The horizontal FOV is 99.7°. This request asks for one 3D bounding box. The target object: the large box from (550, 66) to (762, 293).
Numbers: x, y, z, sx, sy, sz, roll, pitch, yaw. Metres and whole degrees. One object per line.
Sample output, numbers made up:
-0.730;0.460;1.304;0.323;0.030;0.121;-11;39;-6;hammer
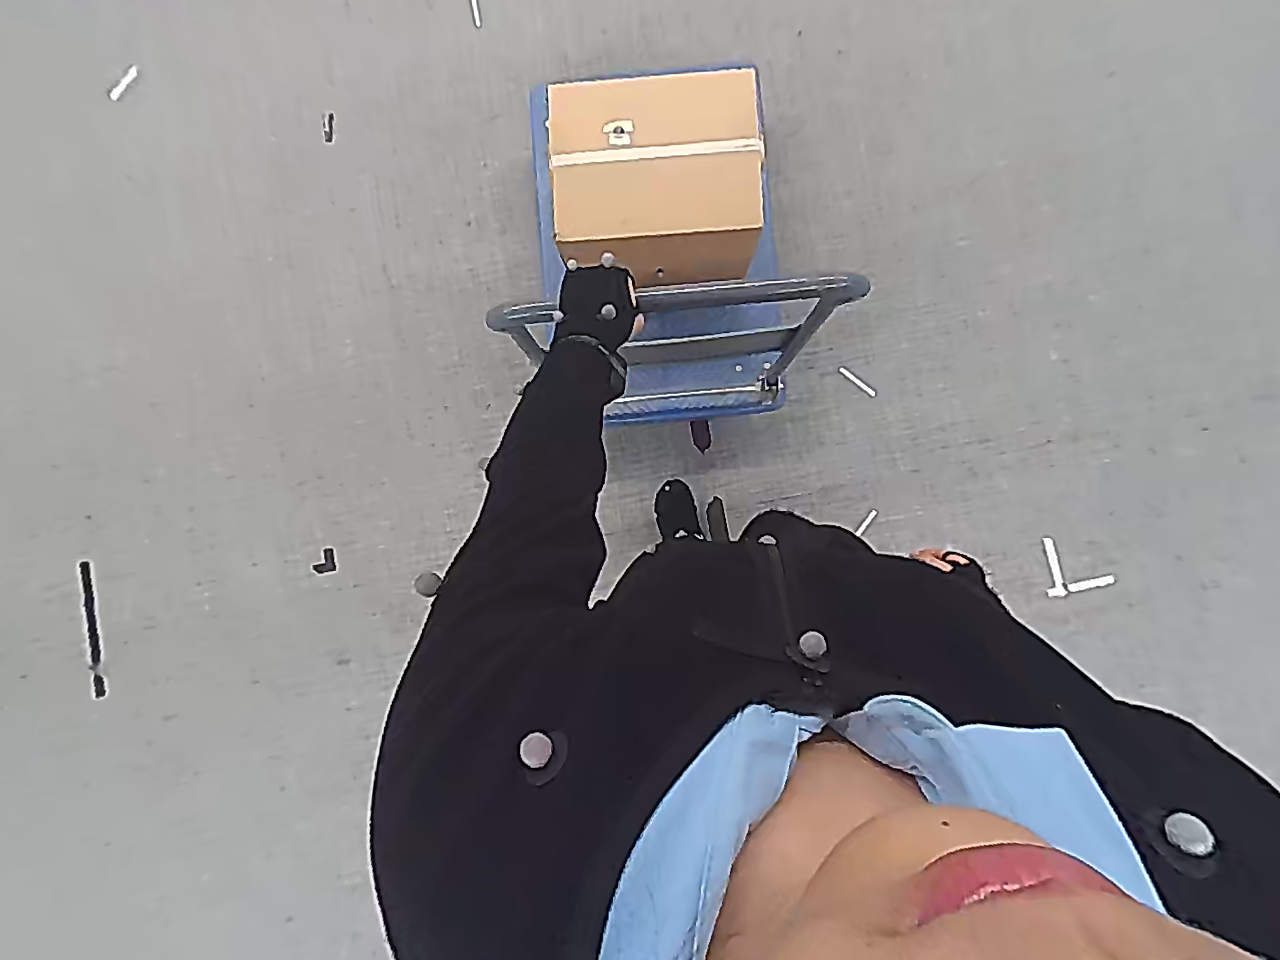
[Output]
0.041;-0.632;1.202;0.408;0.320;0.320;-3;88;4;large box
